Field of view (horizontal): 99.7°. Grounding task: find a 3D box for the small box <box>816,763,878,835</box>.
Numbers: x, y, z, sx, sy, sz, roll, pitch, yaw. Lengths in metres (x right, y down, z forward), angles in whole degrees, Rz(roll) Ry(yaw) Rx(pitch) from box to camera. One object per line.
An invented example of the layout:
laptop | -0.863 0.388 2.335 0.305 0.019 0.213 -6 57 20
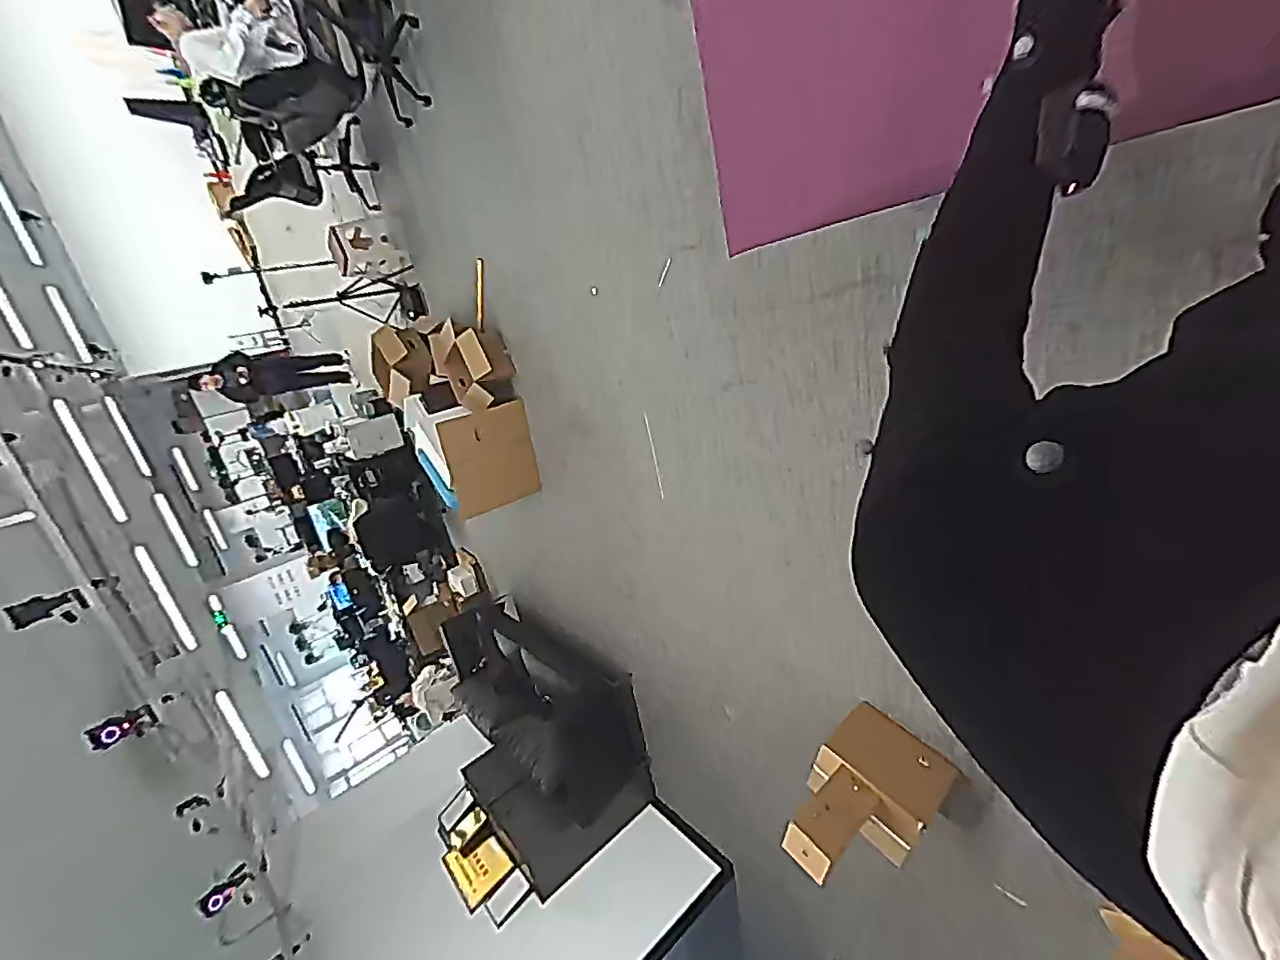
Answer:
small box | 0.752 1.202 2.006 0.168 0.176 0.179 34 134 37

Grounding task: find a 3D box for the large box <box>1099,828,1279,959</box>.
large box | 1.520 1.150 1.378 0.320 0.320 0.408 58 144 8

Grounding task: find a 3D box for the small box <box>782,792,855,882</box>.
small box | 0.631 1.253 1.908 0.168 0.176 0.179 33 134 39
